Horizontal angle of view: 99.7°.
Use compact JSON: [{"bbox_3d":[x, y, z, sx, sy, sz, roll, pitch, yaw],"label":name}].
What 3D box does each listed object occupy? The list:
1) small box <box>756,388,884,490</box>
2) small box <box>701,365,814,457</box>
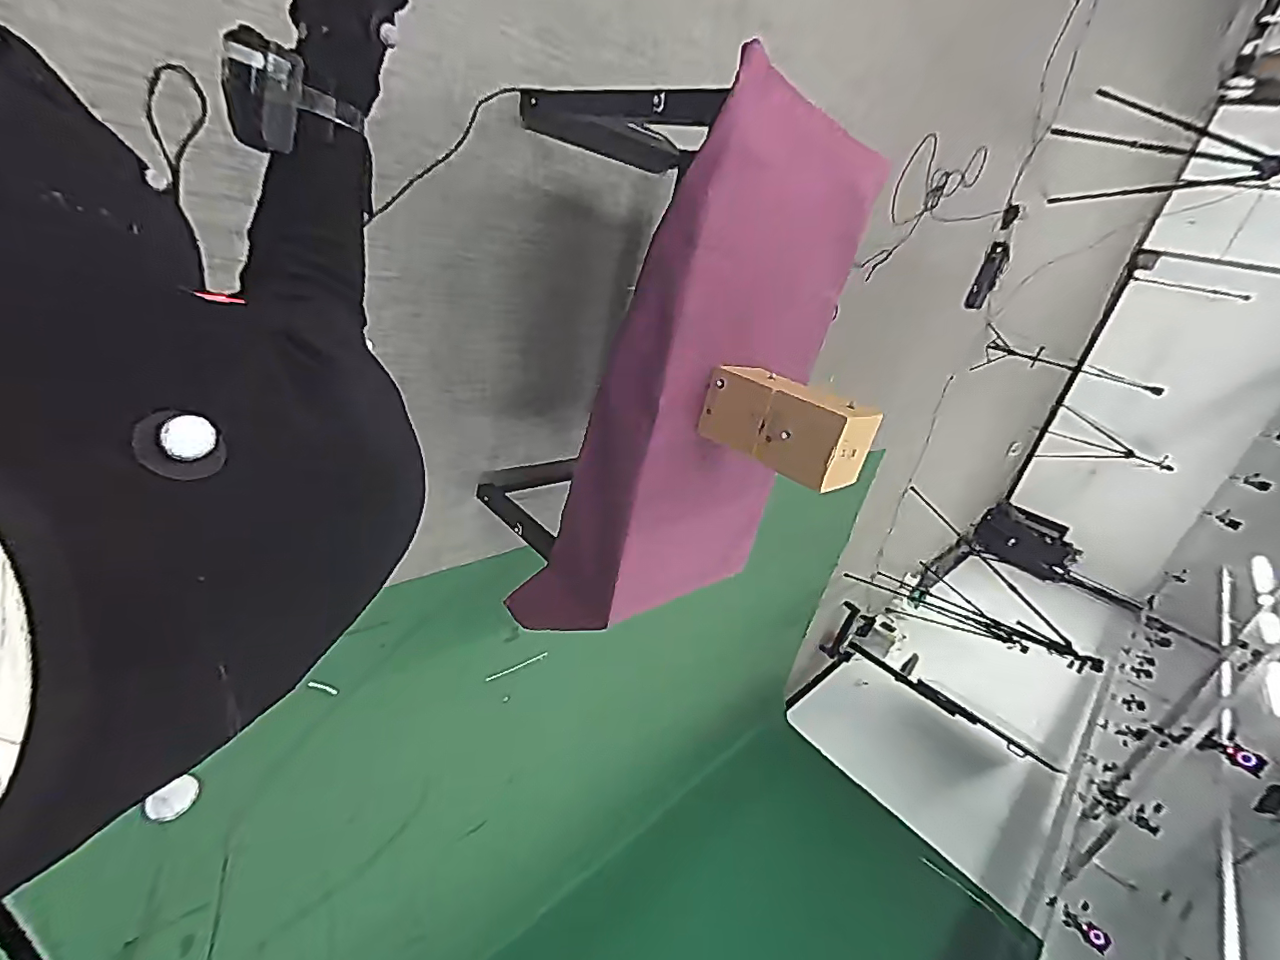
[{"bbox_3d":[0.383,-0.096,1.164,0.179,0.176,0.168,-9,122,-43],"label":"small box"},{"bbox_3d":[0.268,-0.164,1.260,0.179,0.176,0.168,-10,123,-44],"label":"small box"}]
